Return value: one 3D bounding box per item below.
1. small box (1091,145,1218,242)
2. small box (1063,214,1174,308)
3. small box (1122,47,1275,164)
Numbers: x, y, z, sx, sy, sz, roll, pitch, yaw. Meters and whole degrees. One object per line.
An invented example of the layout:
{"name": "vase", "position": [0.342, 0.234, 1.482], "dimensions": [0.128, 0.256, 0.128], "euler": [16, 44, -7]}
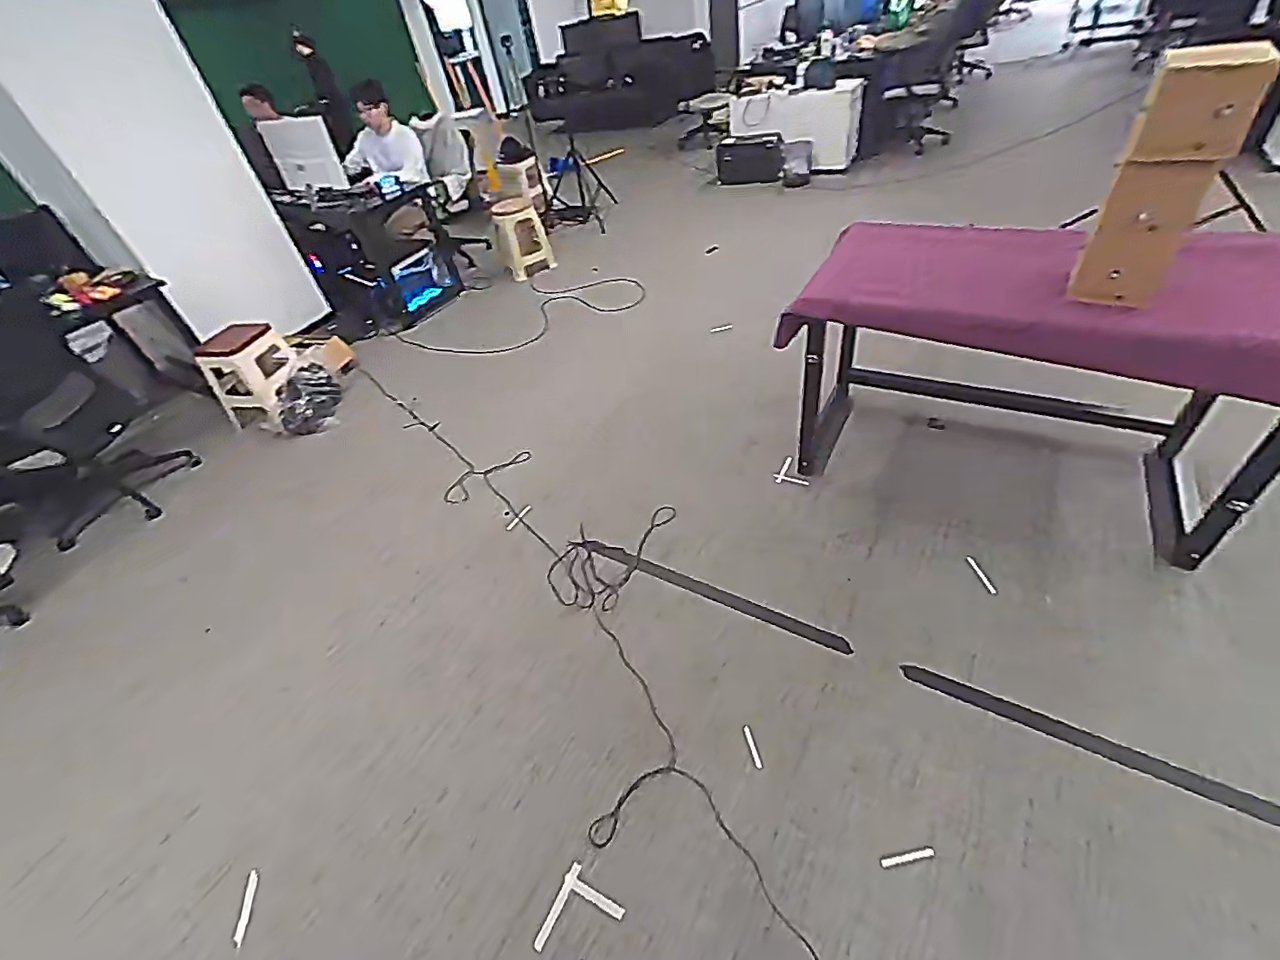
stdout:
{"name": "small box", "position": [1.178, -0.671, 1.249], "dimensions": [0.168, 0.176, 0.179], "euler": [19, 51, 29]}
{"name": "small box", "position": [1.198, -0.551, 1.359], "dimensions": [0.168, 0.176, 0.179], "euler": [19, 50, 29]}
{"name": "small box", "position": [1.145, -0.773, 1.125], "dimensions": [0.168, 0.176, 0.179], "euler": [17, 49, 26]}
